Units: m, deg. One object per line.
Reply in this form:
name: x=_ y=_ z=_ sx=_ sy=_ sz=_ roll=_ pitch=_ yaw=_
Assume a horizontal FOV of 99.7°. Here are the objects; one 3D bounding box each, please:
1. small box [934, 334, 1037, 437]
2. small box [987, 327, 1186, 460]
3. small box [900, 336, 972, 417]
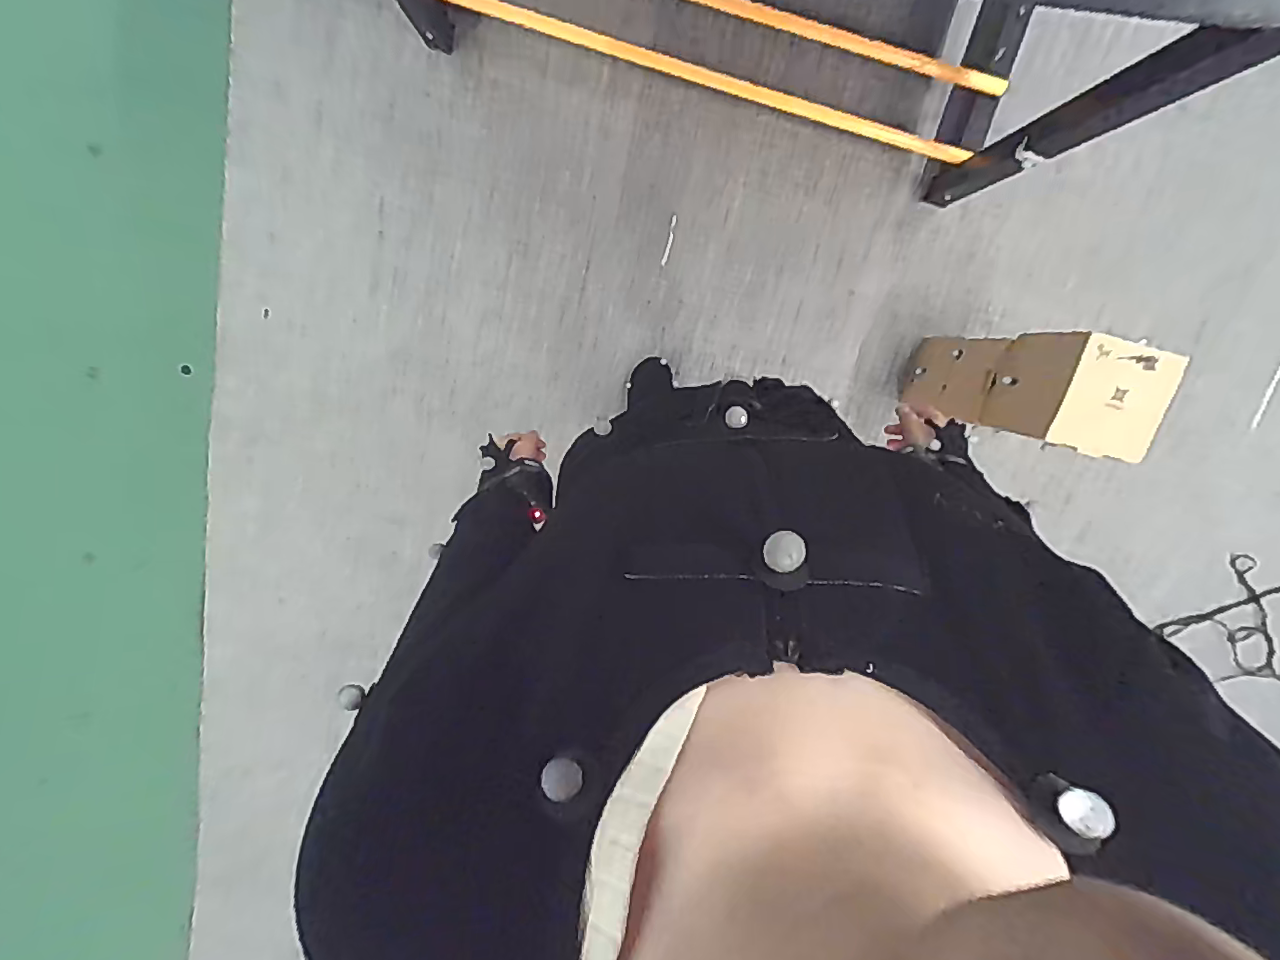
small box: x=0.727 y=-0.186 z=1.076 sx=0.179 sy=0.176 sz=0.168 roll=12 pitch=103 yaw=-4
small box: x=0.734 y=-0.151 z=0.916 sx=0.168 sy=0.176 sz=0.179 roll=14 pitch=104 yaw=-4
small box: x=0.739 y=-0.226 z=1.236 sx=0.179 sy=0.176 sz=0.168 roll=15 pitch=102 yaw=-4
